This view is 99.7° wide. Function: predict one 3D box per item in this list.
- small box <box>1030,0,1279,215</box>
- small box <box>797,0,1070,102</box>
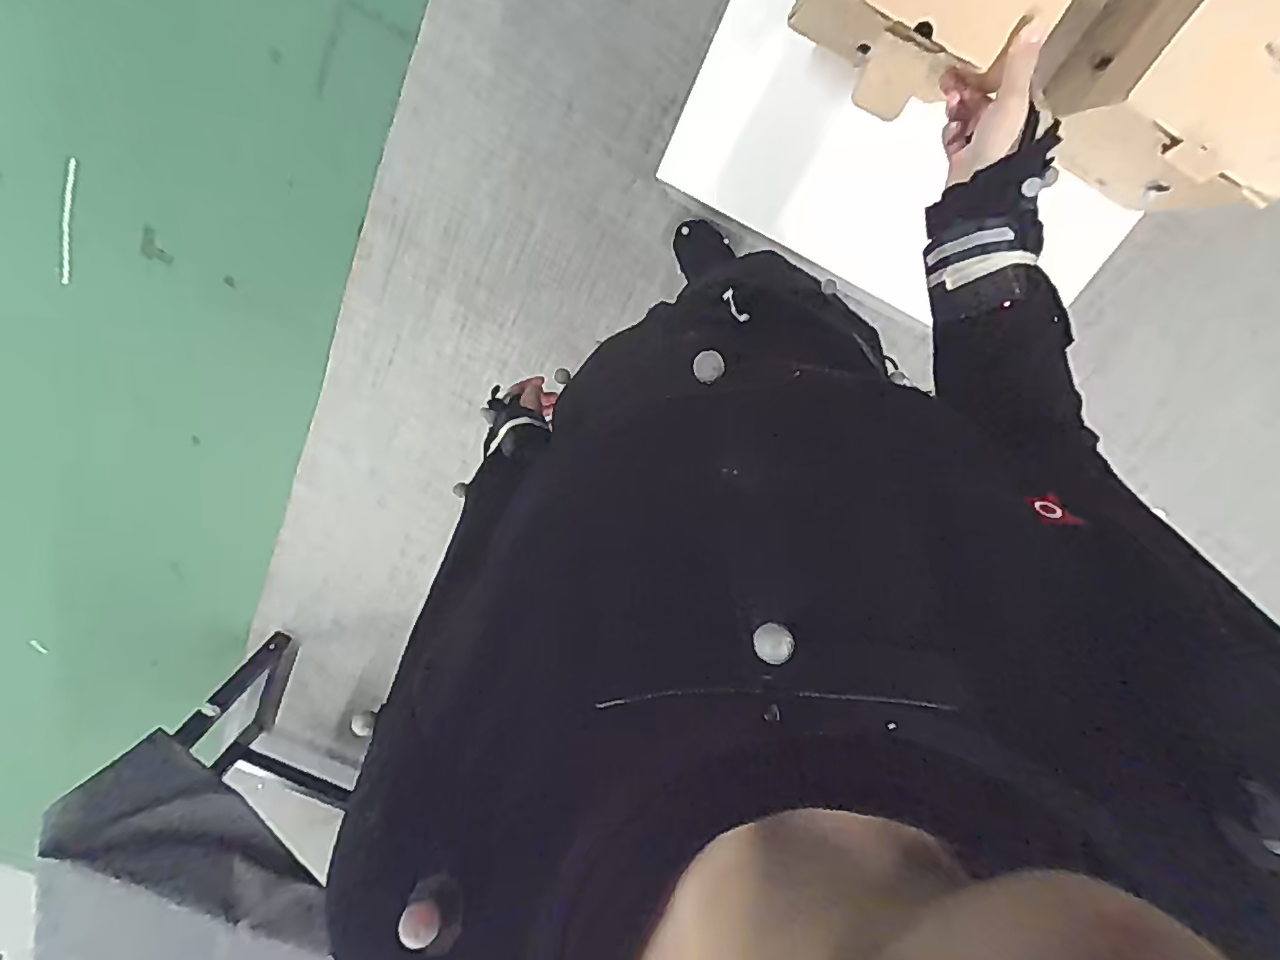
[{"bbox_3d":[0.498,-0.359,0.479,0.168,0.176,0.179,27,114,-8],"label":"small box"},{"bbox_3d":[0.242,-0.428,0.420,0.168,0.176,0.179,22,122,-9],"label":"small box"}]
